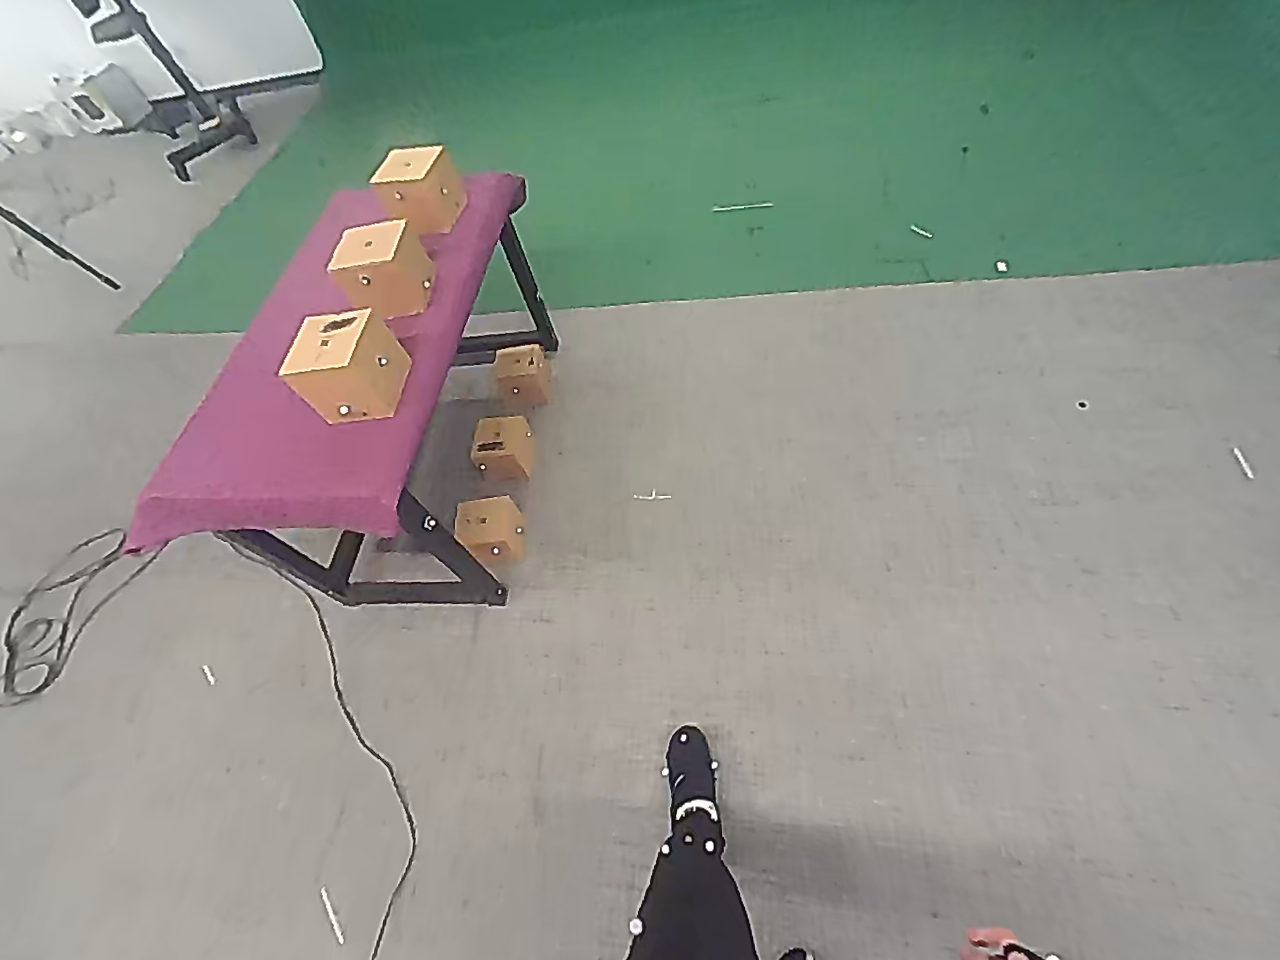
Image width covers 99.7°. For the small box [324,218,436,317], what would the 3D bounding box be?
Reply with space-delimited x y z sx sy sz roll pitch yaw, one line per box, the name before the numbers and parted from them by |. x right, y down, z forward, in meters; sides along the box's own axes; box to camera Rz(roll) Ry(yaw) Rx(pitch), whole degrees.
small box | -0.656 -0.537 1.386 0.179 0.176 0.168 -5 58 8

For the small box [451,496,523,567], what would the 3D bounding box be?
small box | -0.493 0.171 1.771 0.179 0.176 0.168 -9 56 6

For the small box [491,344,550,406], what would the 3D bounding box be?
small box | -0.470 -0.412 2.143 0.179 0.176 0.168 -7 56 7

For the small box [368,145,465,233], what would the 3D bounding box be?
small box | -0.643 -0.846 1.582 0.179 0.176 0.168 4 59 14

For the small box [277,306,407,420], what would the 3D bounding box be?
small box | -0.645 -0.255 1.198 0.168 0.176 0.179 -5 57 10
